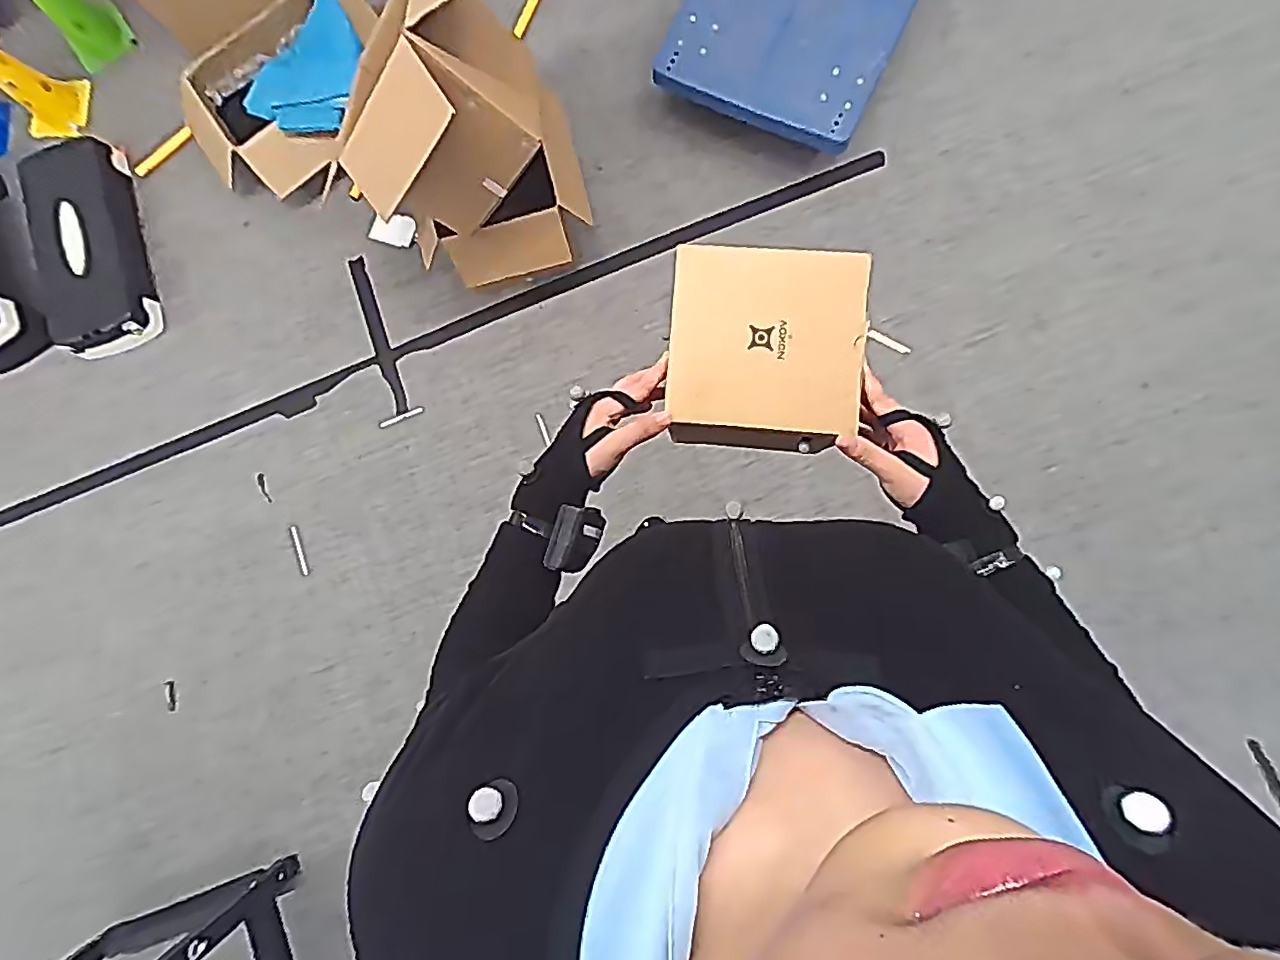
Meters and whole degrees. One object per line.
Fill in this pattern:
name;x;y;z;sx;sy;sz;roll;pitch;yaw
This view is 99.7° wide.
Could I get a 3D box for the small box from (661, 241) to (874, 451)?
small box;0.120;-0.124;0.559;0.179;0.176;0.168;6;88;5
